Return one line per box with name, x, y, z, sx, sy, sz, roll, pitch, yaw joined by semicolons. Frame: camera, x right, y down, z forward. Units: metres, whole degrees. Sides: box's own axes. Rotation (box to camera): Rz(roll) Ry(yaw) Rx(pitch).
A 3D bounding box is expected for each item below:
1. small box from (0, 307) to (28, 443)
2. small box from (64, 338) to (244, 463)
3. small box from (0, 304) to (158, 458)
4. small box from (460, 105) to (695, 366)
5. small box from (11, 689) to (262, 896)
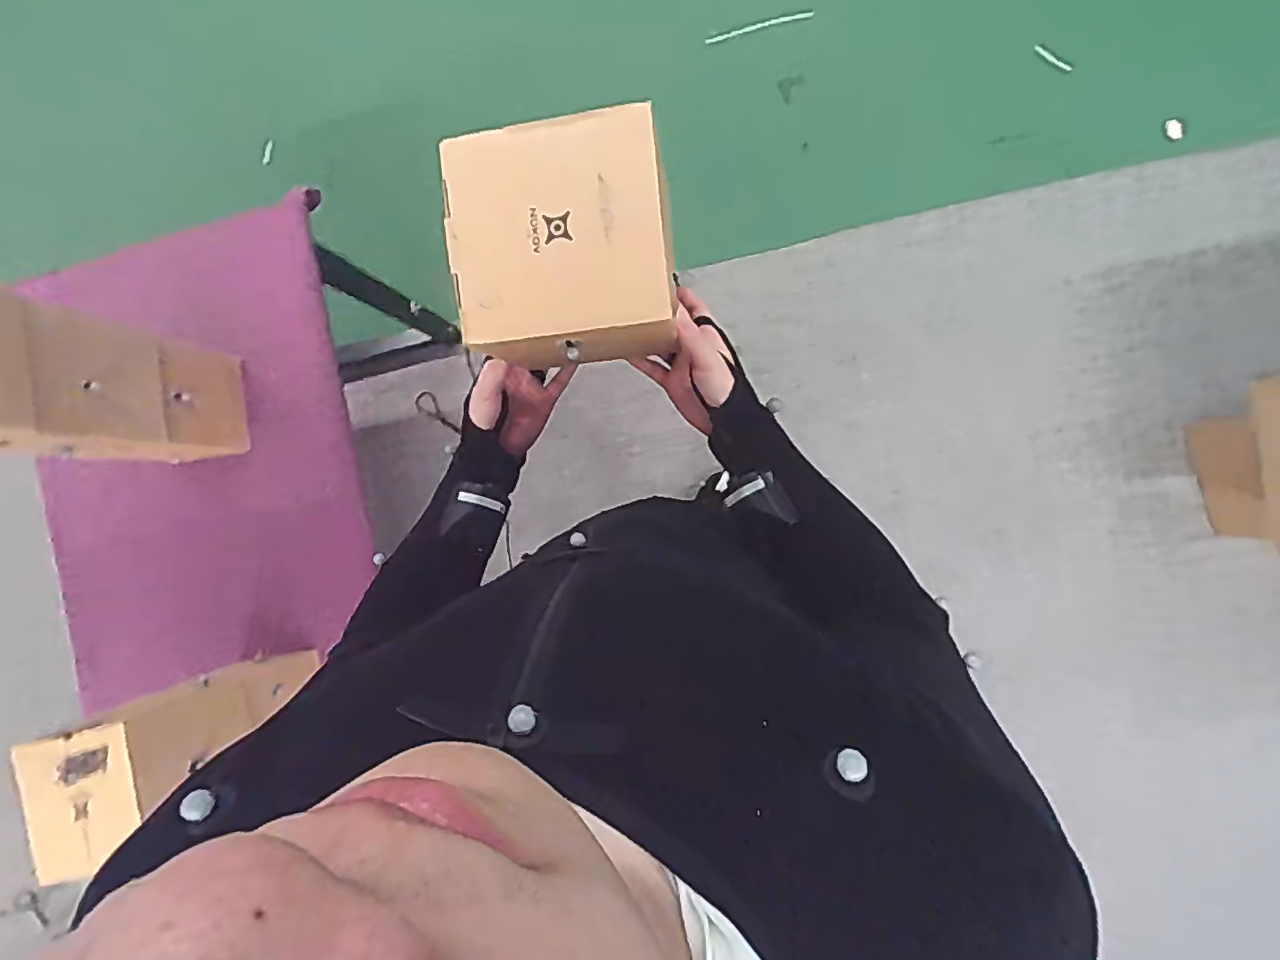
small box;-0.833;-0.127;0.581;0.168;0.176;0.179;-7;91;6
small box;-0.814;-0.124;0.910;0.168;0.176;0.179;-7;91;5
small box;-0.820;-0.123;0.746;0.168;0.176;0.179;-7;91;5
small box;-0.043;-0.205;0.505;0.179;0.176;0.168;-4;95;7
small box;-0.660;0.401;0.729;0.168;0.176;0.179;-15;89;6
